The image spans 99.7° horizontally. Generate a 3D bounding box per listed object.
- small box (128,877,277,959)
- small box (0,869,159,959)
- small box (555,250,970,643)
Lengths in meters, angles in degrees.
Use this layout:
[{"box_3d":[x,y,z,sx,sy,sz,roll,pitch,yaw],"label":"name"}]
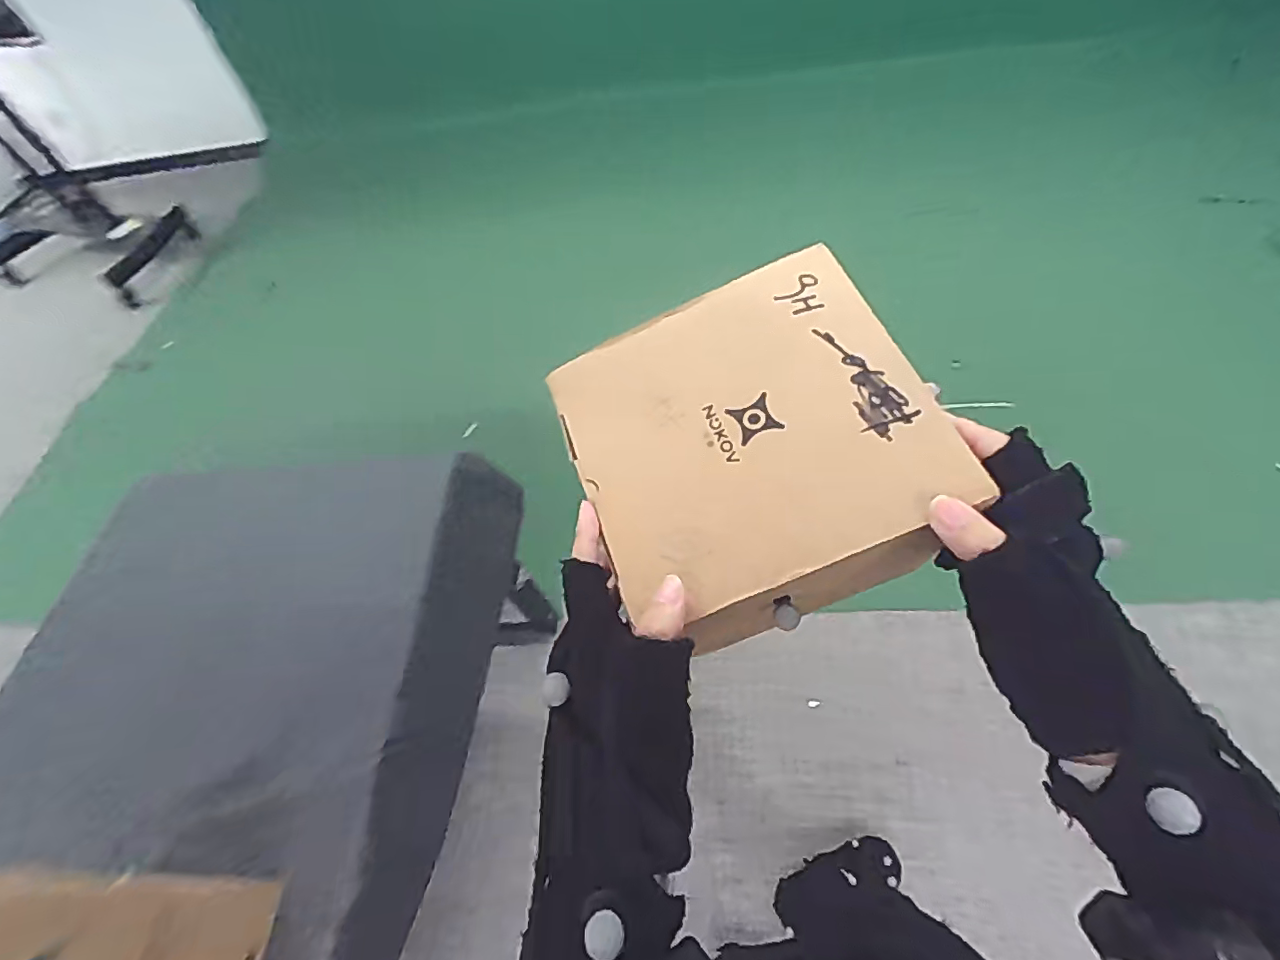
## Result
[{"box_3d":[-0.485,0.472,0.495,0.179,0.176,0.168,-6,56,5],"label":"small box"},{"box_3d":[-0.492,0.376,0.364,0.168,0.176,0.179,-3,57,9],"label":"small box"},{"box_3d":[0.072,-0.004,0.363,0.179,0.176,0.168,-26,63,4],"label":"small box"}]
